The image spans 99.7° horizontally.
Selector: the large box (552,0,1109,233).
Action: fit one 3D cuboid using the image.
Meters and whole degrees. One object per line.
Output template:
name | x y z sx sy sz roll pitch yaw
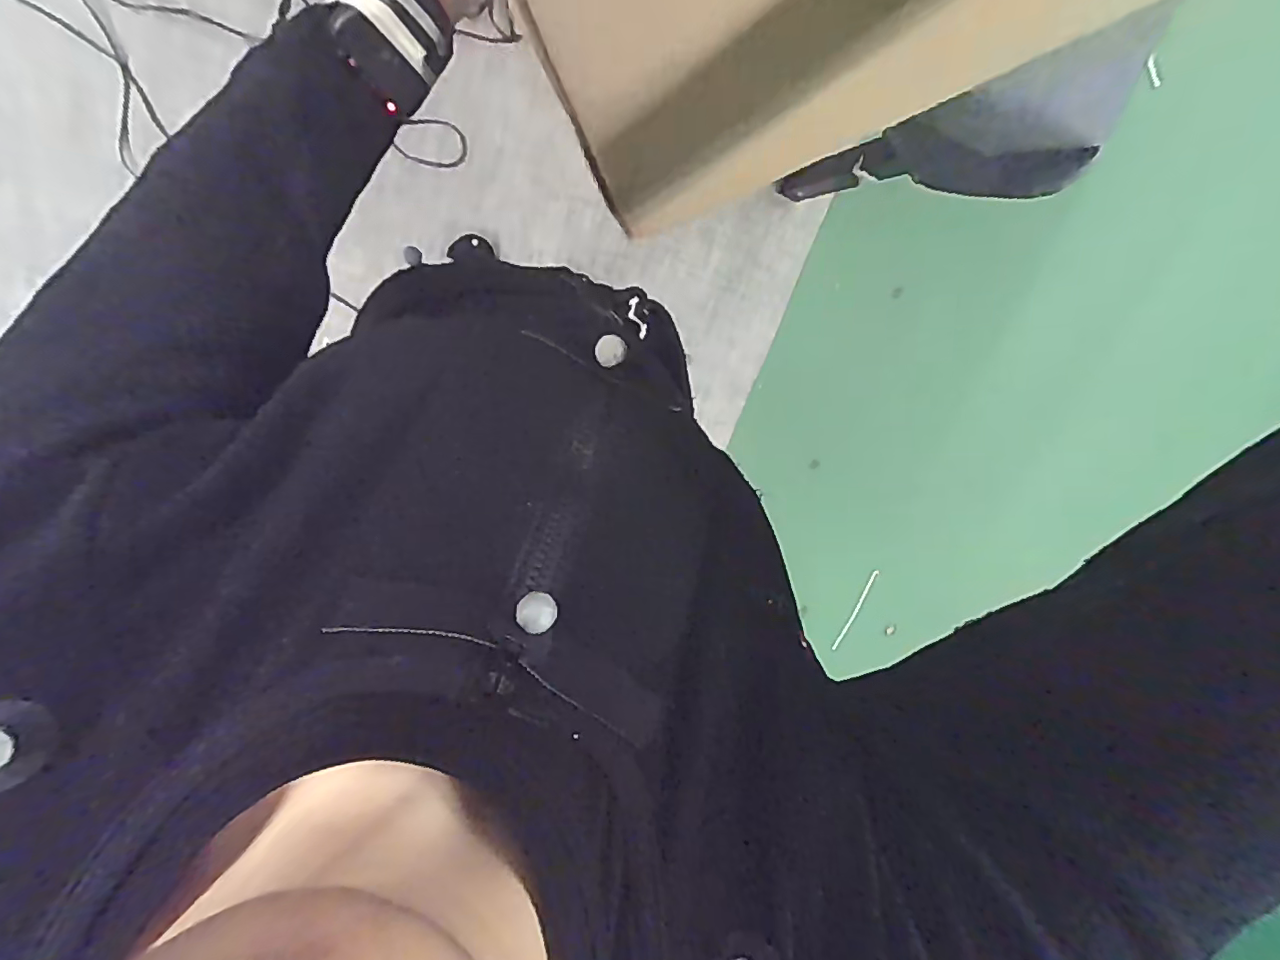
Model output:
large box | 0.109 -0.376 0.216 0.408 0.320 0.320 -23 92 11
